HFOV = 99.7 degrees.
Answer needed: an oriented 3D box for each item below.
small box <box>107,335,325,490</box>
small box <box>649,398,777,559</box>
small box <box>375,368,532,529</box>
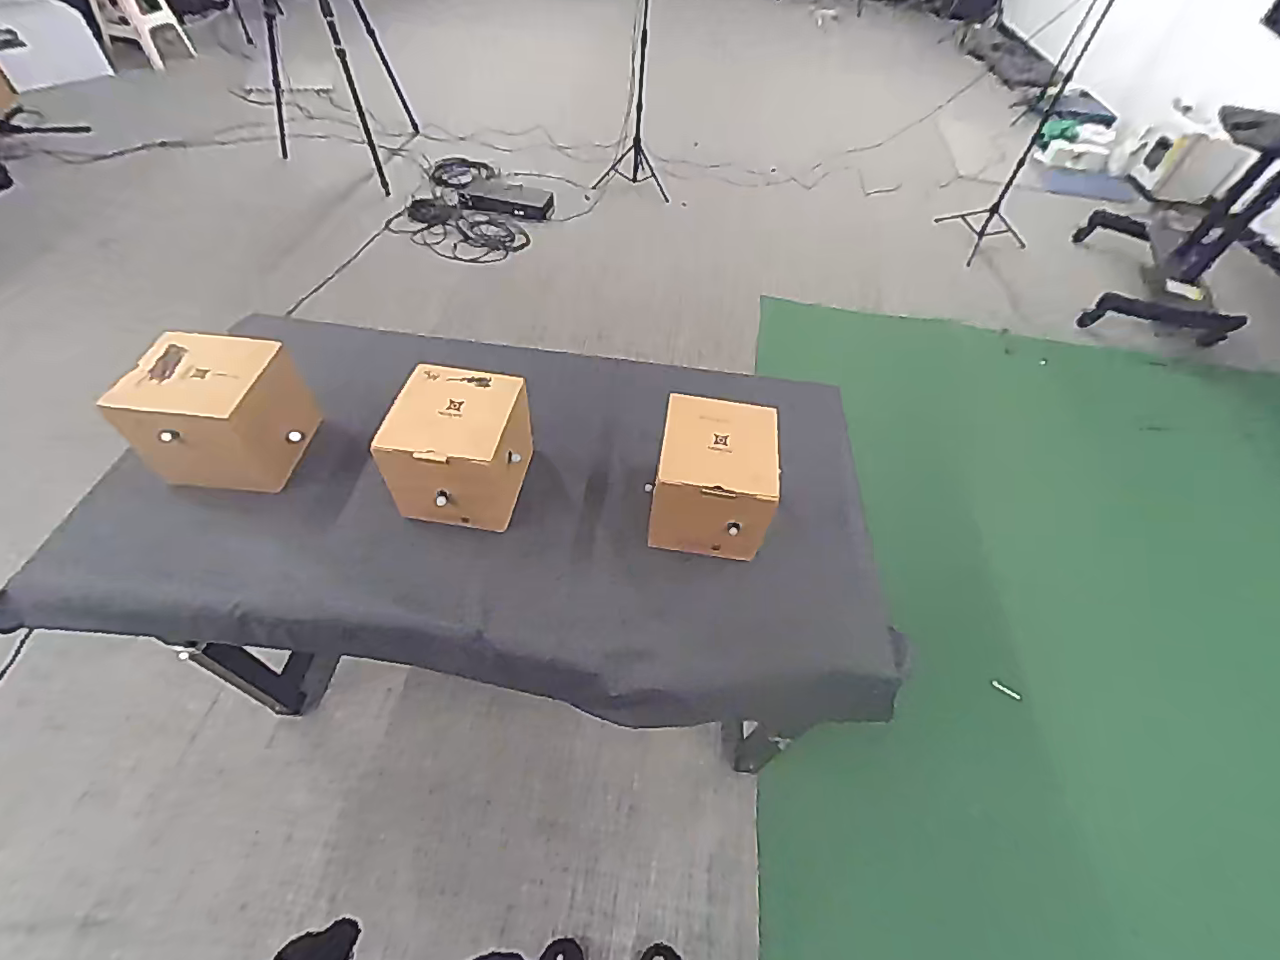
[{"bbox_3d":[-0.635,-0.100,0.839,0.179,0.176,0.168,6,52,-3],"label":"small box"},{"bbox_3d":[0.107,0.001,0.835,0.168,0.176,0.179,9,50,0],"label":"small box"},{"bbox_3d":[-0.269,-0.044,0.833,0.168,0.176,0.179,8,52,1],"label":"small box"}]
